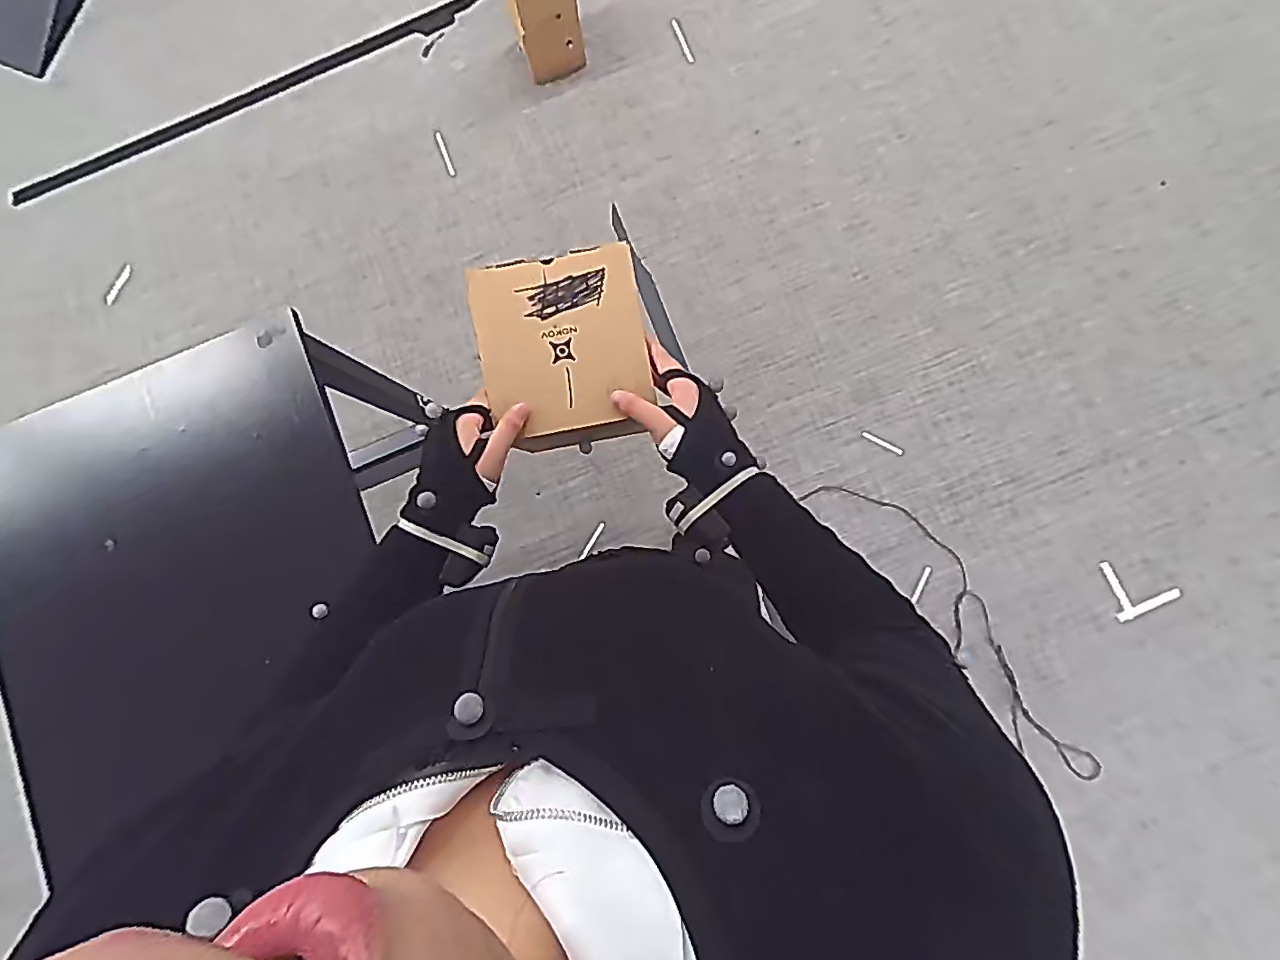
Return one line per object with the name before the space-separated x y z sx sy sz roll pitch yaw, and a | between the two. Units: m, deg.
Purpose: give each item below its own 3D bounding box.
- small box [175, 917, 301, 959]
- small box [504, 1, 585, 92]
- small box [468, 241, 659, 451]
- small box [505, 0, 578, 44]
small box | -0.540 0.692 0.664 0.179 0.176 0.168 -19 82 2
small box | -0.272 -1.307 1.598 0.179 0.176 0.168 -22 82 1
small box | -0.076 -0.136 0.611 0.168 0.176 0.179 -11 89 1
small box | -0.279 -1.324 1.435 0.168 0.176 0.179 -24 82 0
